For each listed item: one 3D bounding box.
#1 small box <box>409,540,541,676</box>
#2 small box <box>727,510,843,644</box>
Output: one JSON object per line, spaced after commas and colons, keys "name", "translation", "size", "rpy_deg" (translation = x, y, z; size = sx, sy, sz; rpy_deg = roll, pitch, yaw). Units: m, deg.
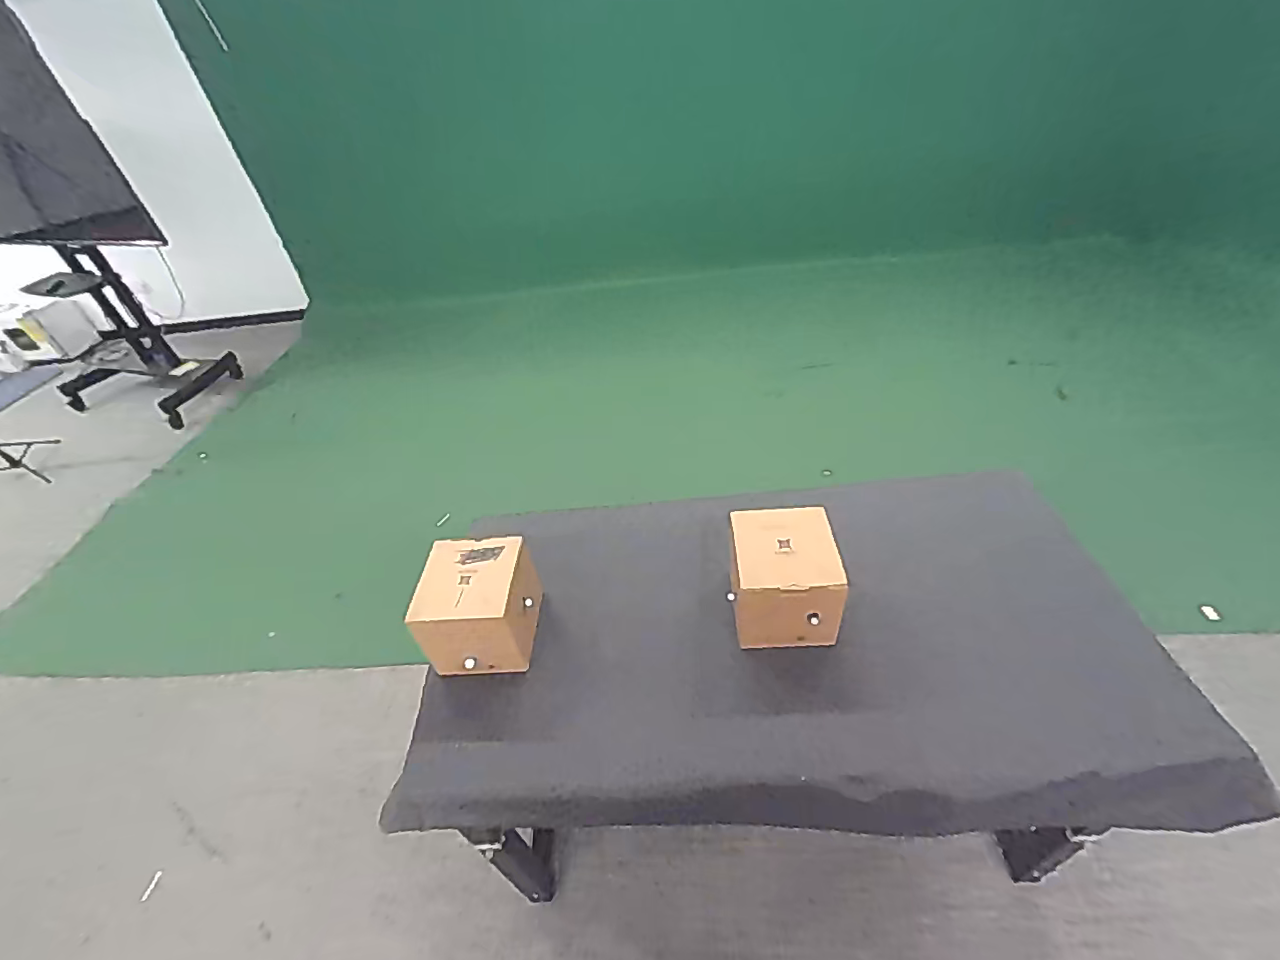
{"name": "small box", "translation": [-0.282, 0.230, 0.973], "size": [0.168, 0.176, 0.179], "rpy_deg": [-4, 42, 4]}
{"name": "small box", "translation": [0.245, 0.177, 0.957], "size": [0.168, 0.176, 0.179], "rpy_deg": [-3, 40, 3]}
